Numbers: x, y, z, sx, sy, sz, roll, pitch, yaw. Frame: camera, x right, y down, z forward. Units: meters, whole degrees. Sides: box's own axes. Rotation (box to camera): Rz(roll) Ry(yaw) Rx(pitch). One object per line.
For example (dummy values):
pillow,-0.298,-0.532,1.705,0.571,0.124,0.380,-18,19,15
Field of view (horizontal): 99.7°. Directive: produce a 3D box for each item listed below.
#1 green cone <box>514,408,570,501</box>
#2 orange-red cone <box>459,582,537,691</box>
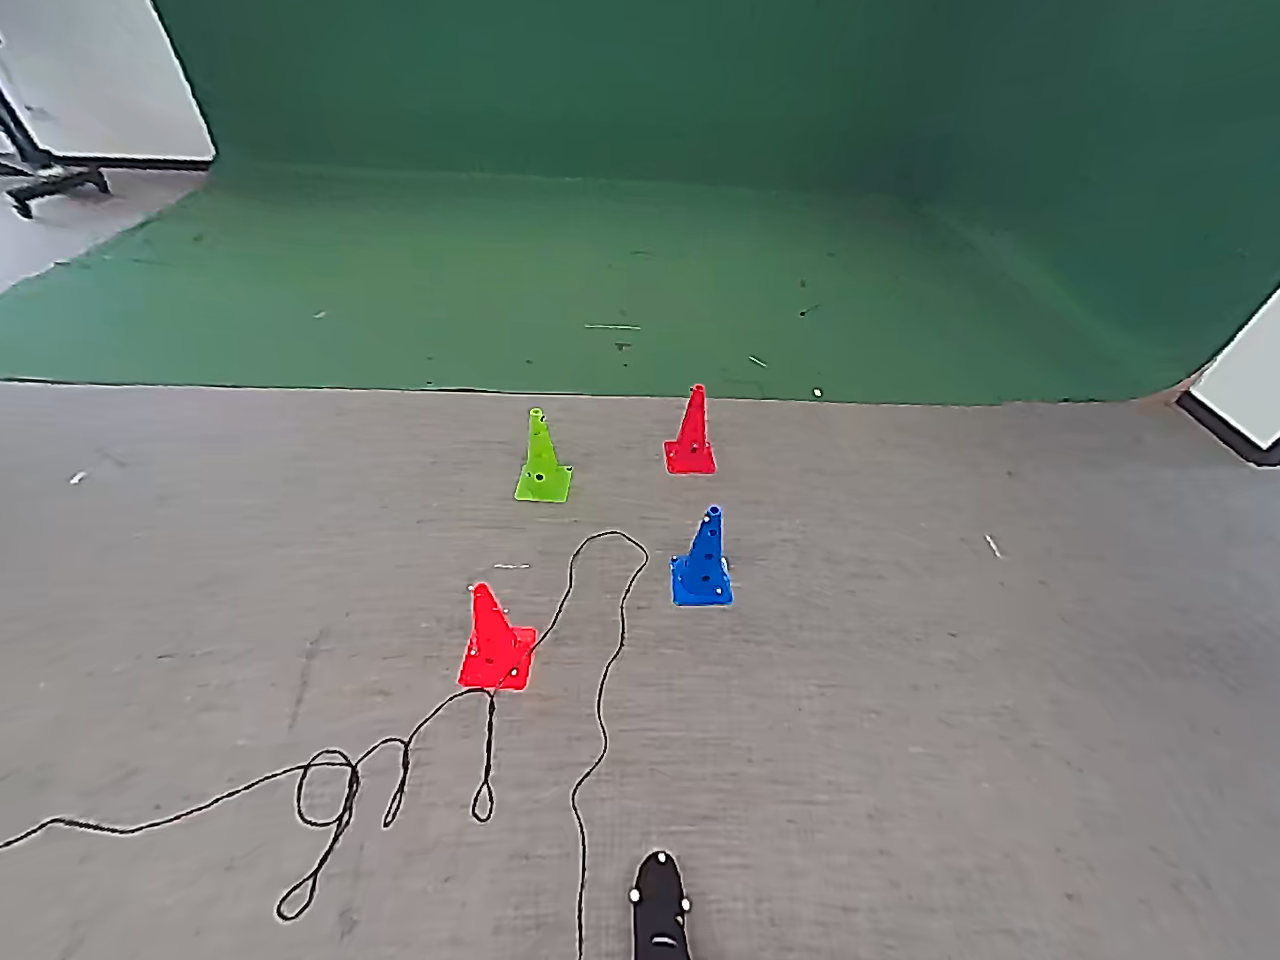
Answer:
green cone,-0.377,-0.116,2.007,0.200,0.368,0.202,2,45,0
orange-red cone,-0.409,0.398,1.487,0.198,0.360,0.199,5,43,0
